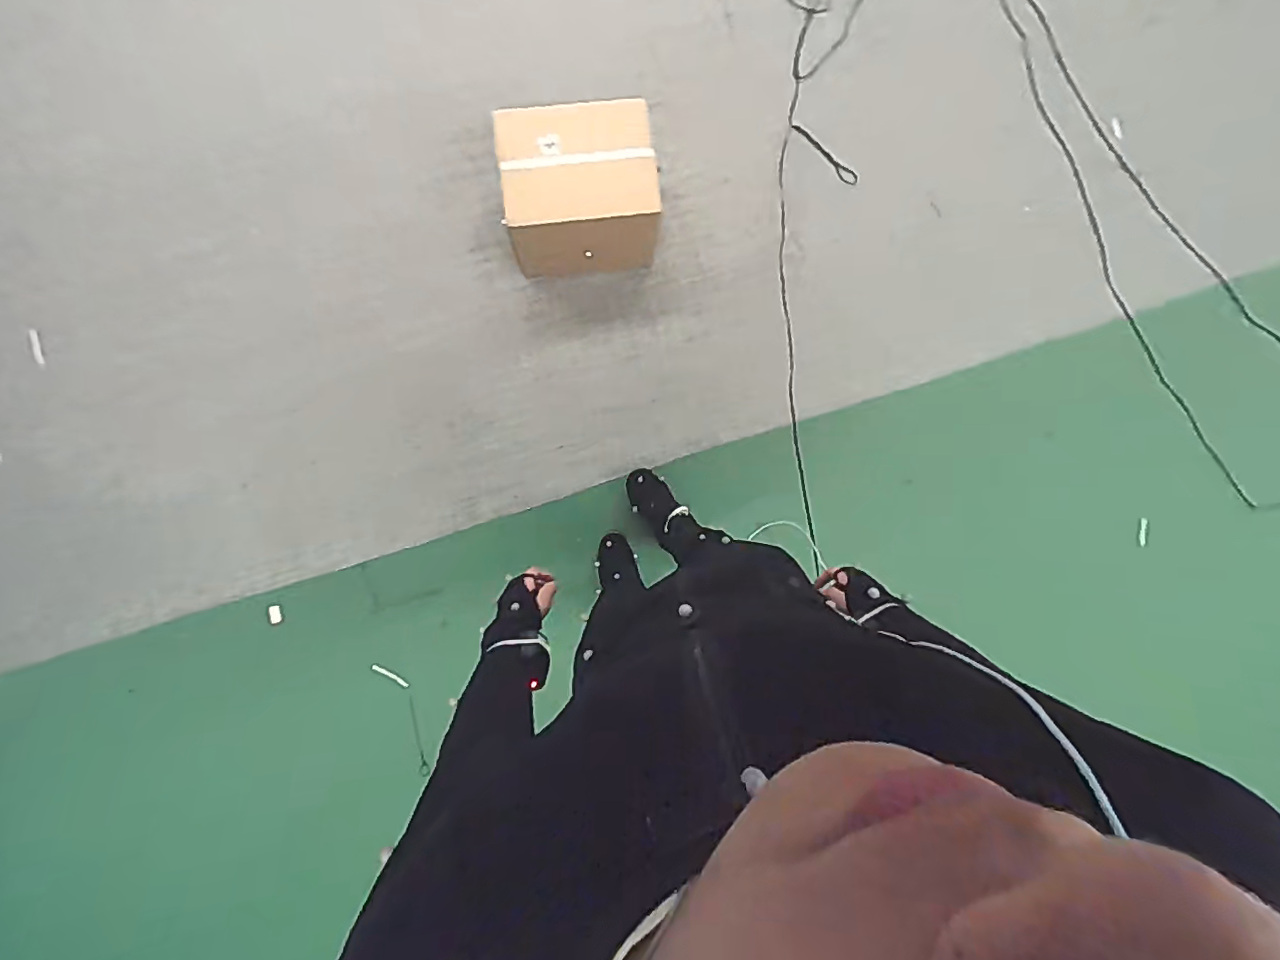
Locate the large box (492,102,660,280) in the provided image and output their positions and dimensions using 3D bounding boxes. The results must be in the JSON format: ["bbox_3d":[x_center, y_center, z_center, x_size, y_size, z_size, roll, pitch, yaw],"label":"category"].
[{"bbox_3d":[-0.171,-0.803,1.547,0.408,0.320,0.320,-8,86,-3],"label":"large box"}]
